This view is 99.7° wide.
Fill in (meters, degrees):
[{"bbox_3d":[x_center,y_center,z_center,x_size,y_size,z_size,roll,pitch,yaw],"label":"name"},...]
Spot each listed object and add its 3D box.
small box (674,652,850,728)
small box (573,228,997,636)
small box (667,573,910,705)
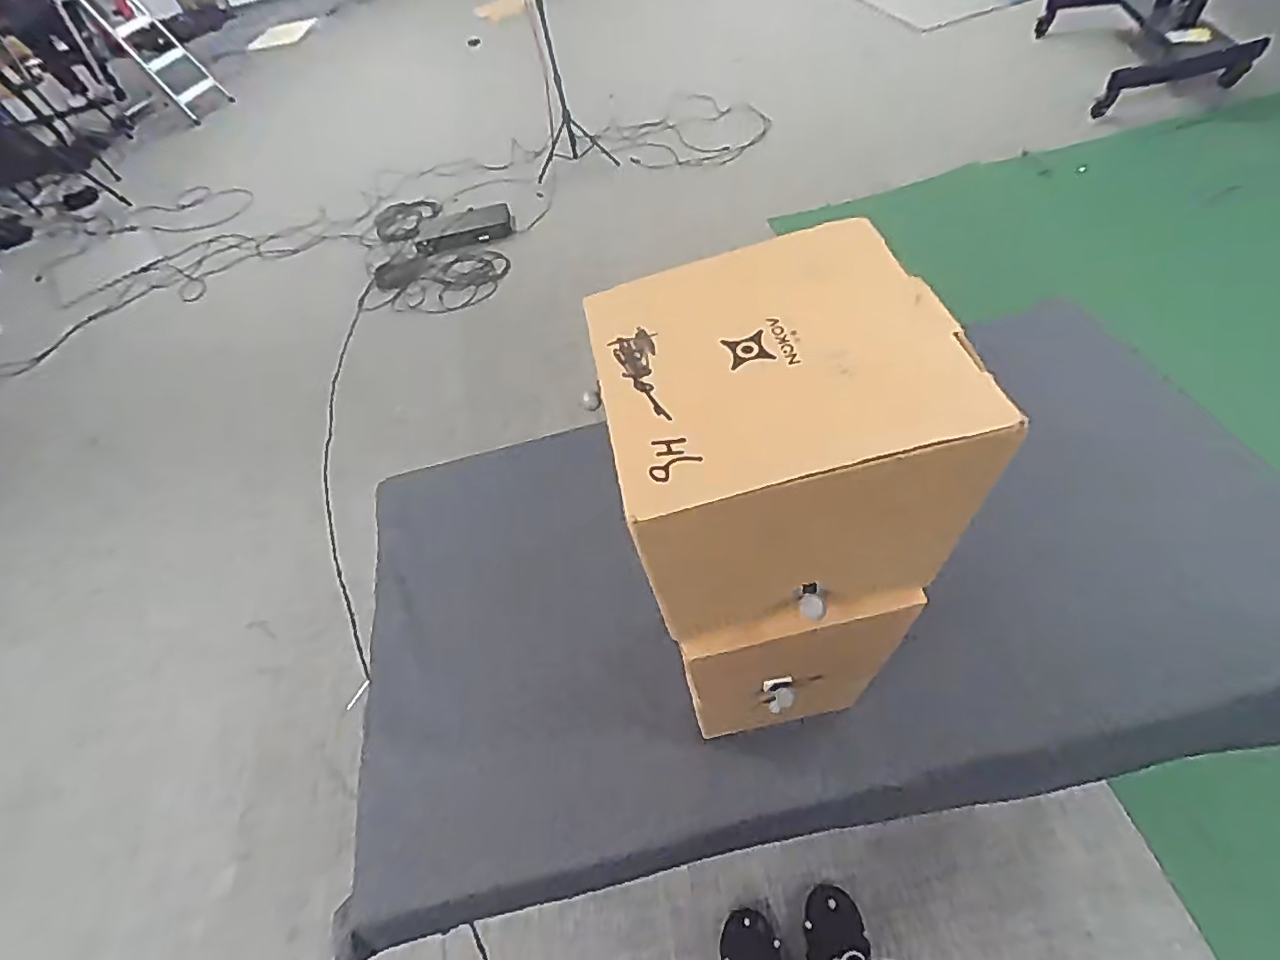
[{"bbox_3d":[0.126,0.163,0.604,0.179,0.176,0.168,-13,55,2],"label":"small box"},{"bbox_3d":[0.069,-0.019,0.341,0.179,0.176,0.168,-14,54,3],"label":"small box"},{"bbox_3d":[0.099,0.075,0.472,0.168,0.176,0.179,-15,56,3],"label":"small box"}]
